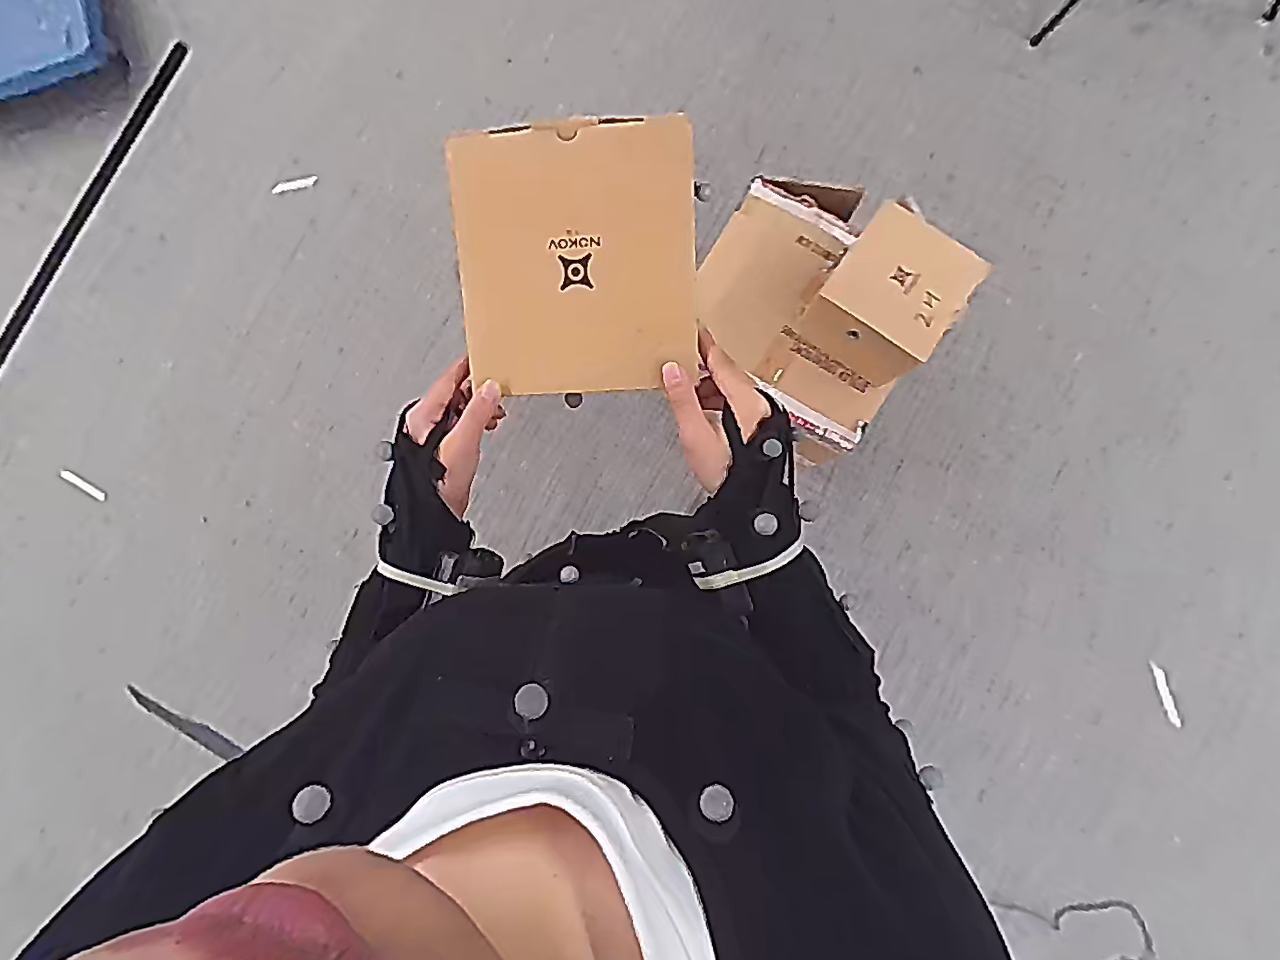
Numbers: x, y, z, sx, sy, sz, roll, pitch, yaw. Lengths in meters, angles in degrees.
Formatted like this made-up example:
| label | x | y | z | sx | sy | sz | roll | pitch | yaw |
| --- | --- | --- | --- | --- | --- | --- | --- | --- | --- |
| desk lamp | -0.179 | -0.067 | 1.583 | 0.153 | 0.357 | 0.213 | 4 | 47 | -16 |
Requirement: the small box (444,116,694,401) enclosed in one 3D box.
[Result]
| label | x | y | z | sx | sy | sz | roll | pitch | yaw |
| --- | --- | --- | --- | --- | --- | --- | --- | --- | --- |
| small box | -0.040 | -0.163 | 0.448 | 0.168 | 0.176 | 0.179 | -3 | 102 | 4 |

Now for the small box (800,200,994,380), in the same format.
| label | x | y | z | sx | sy | sz | roll | pitch | yaw |
| --- | --- | --- | --- | --- | --- | --- | --- | --- | --- |
| small box | 0.372 | -0.273 | 0.823 | 0.179 | 0.176 | 0.168 | 36 | 91 | 3 |
